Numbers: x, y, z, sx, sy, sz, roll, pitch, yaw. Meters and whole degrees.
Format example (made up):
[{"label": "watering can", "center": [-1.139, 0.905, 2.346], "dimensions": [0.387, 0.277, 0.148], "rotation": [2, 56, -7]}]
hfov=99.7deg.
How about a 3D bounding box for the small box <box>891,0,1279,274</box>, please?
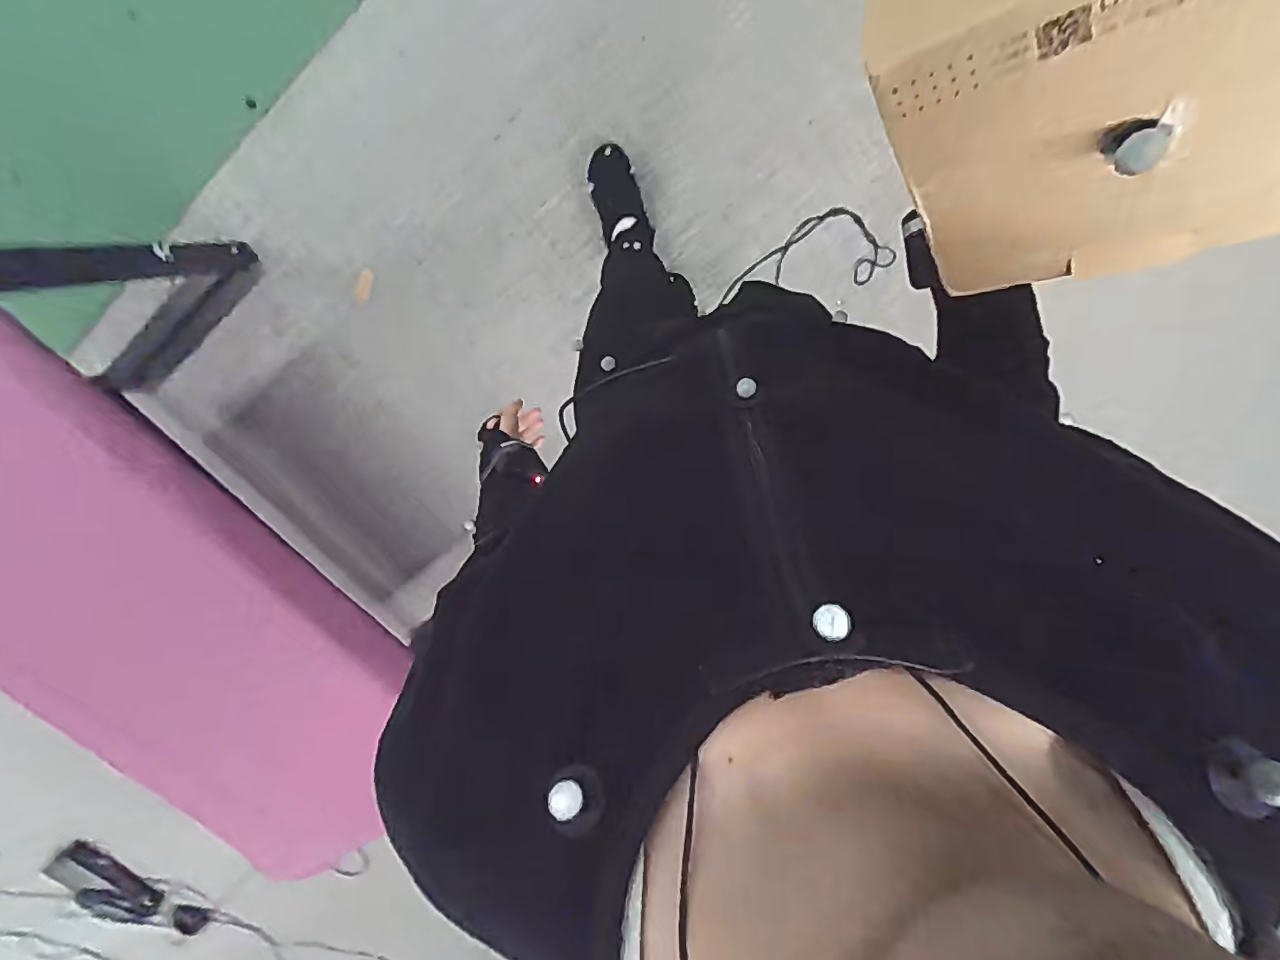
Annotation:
[{"label": "small box", "center": [0.217, -0.226, 0.226], "dimensions": [0.168, 0.179, 0.176], "rotation": [1, 163, 39]}]
